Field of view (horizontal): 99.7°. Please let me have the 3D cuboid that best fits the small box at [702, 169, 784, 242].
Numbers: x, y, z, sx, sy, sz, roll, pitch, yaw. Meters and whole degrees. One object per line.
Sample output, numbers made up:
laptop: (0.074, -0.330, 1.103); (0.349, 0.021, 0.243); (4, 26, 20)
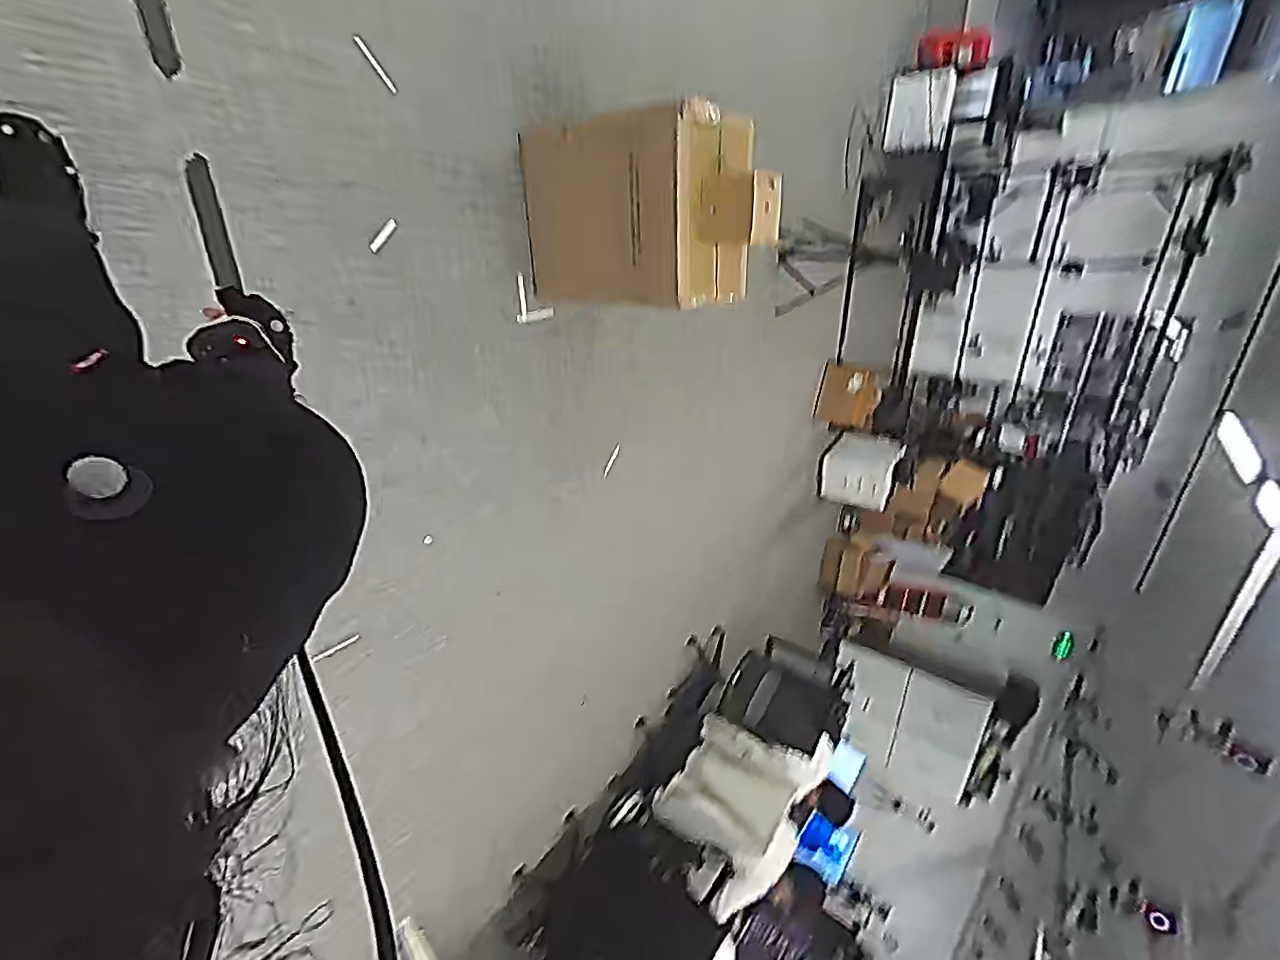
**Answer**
small box: (0.291, -0.780, 1.548); (0.168, 0.176, 0.179); (-27, 126, -45)
